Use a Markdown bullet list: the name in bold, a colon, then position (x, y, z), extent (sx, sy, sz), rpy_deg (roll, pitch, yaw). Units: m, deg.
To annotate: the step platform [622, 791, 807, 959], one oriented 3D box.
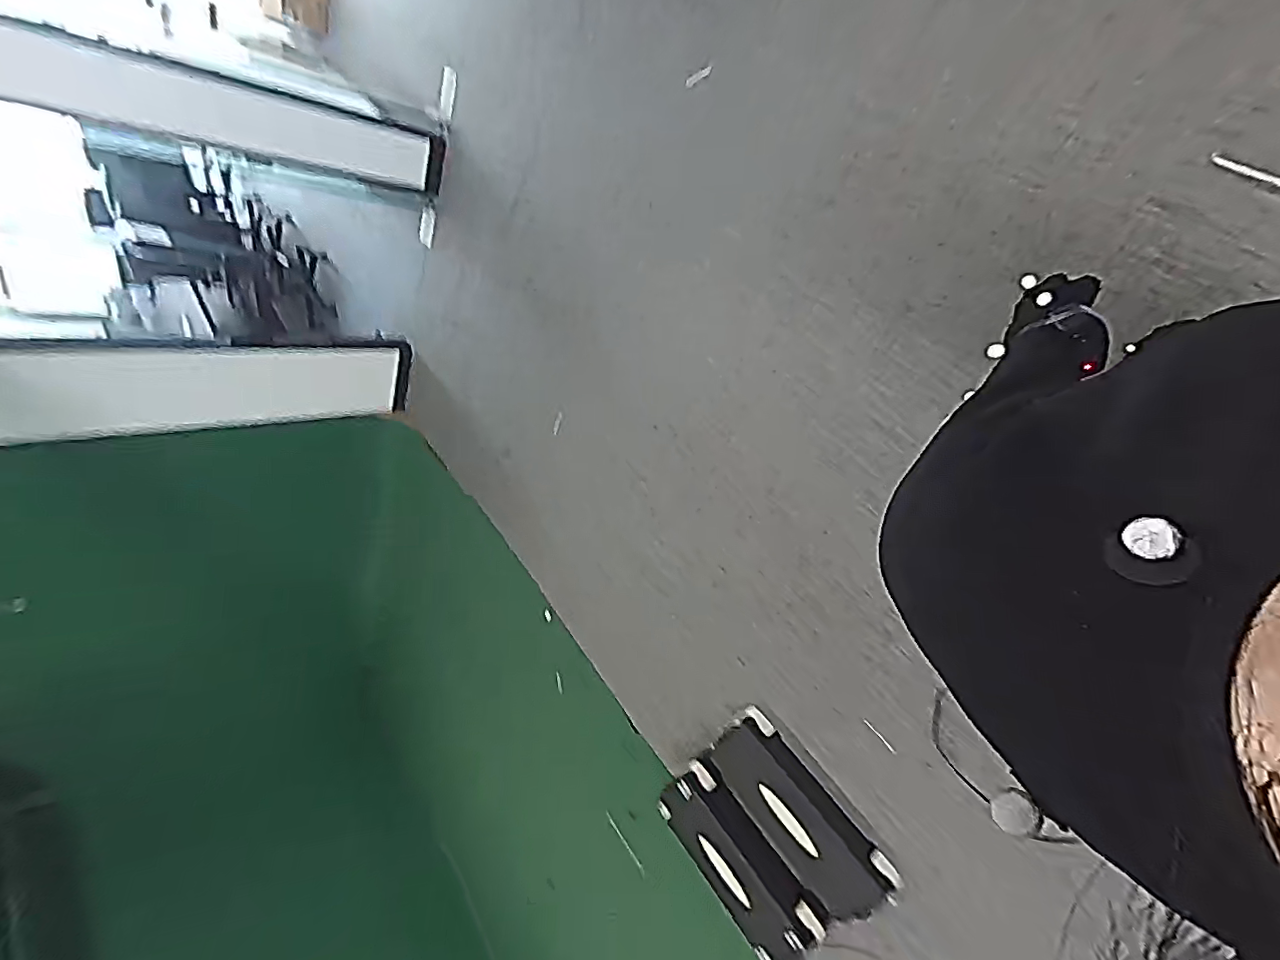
- **step platform**: position (0.243, 1.464, 1.878), extent (0.684, 0.204, 0.286), rpy_deg (46, 127, 26)
